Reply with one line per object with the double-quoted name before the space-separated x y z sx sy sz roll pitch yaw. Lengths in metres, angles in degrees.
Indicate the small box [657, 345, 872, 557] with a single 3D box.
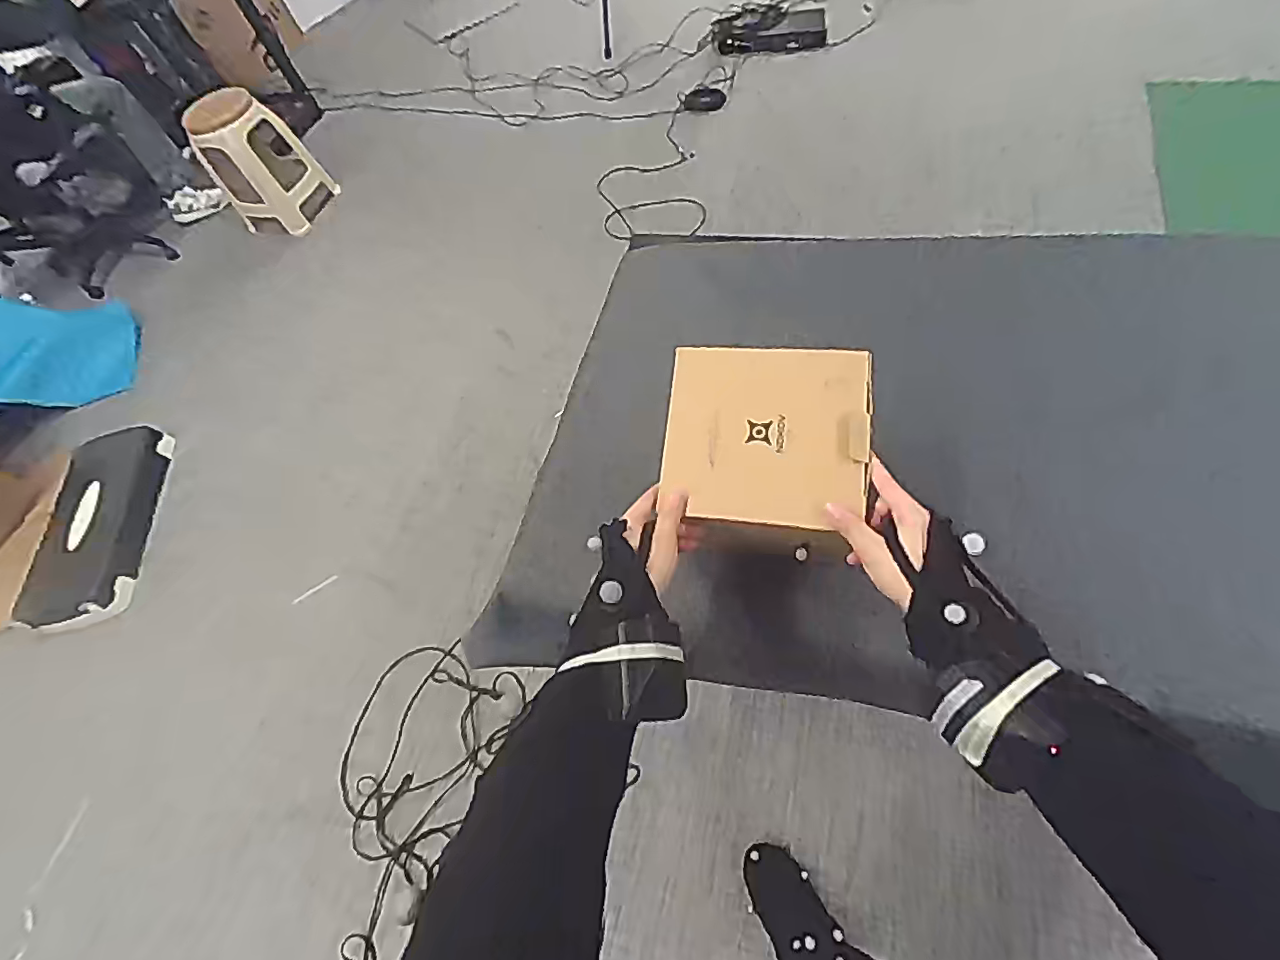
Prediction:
"small box" 0.126 -0.021 0.548 0.179 0.176 0.168 3 73 14
